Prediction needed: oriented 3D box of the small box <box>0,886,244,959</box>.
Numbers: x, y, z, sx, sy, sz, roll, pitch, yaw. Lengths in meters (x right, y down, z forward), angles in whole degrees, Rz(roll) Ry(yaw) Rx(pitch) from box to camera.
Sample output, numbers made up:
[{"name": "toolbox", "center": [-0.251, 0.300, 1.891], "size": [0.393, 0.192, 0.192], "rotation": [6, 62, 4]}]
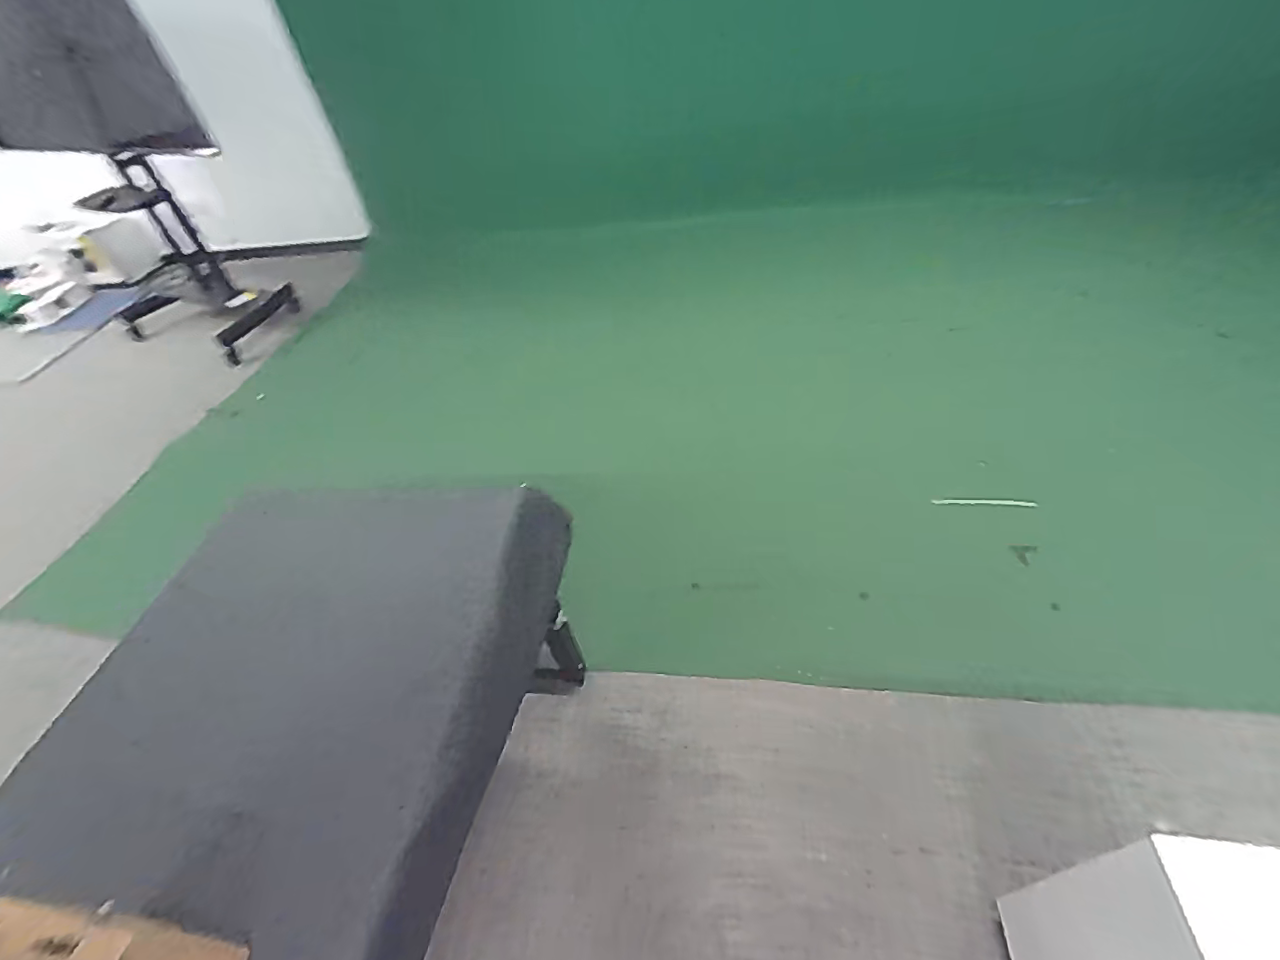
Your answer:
[{"name": "small box", "center": [-0.523, 0.504, 0.492], "size": [0.168, 0.176, 0.179], "rotation": [3, 48, 13]}]

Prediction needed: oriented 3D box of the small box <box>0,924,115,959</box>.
[{"name": "small box", "center": [-0.543, 0.403, 0.363], "size": [0.179, 0.176, 0.168], "rotation": [-1, 46, 11]}]
